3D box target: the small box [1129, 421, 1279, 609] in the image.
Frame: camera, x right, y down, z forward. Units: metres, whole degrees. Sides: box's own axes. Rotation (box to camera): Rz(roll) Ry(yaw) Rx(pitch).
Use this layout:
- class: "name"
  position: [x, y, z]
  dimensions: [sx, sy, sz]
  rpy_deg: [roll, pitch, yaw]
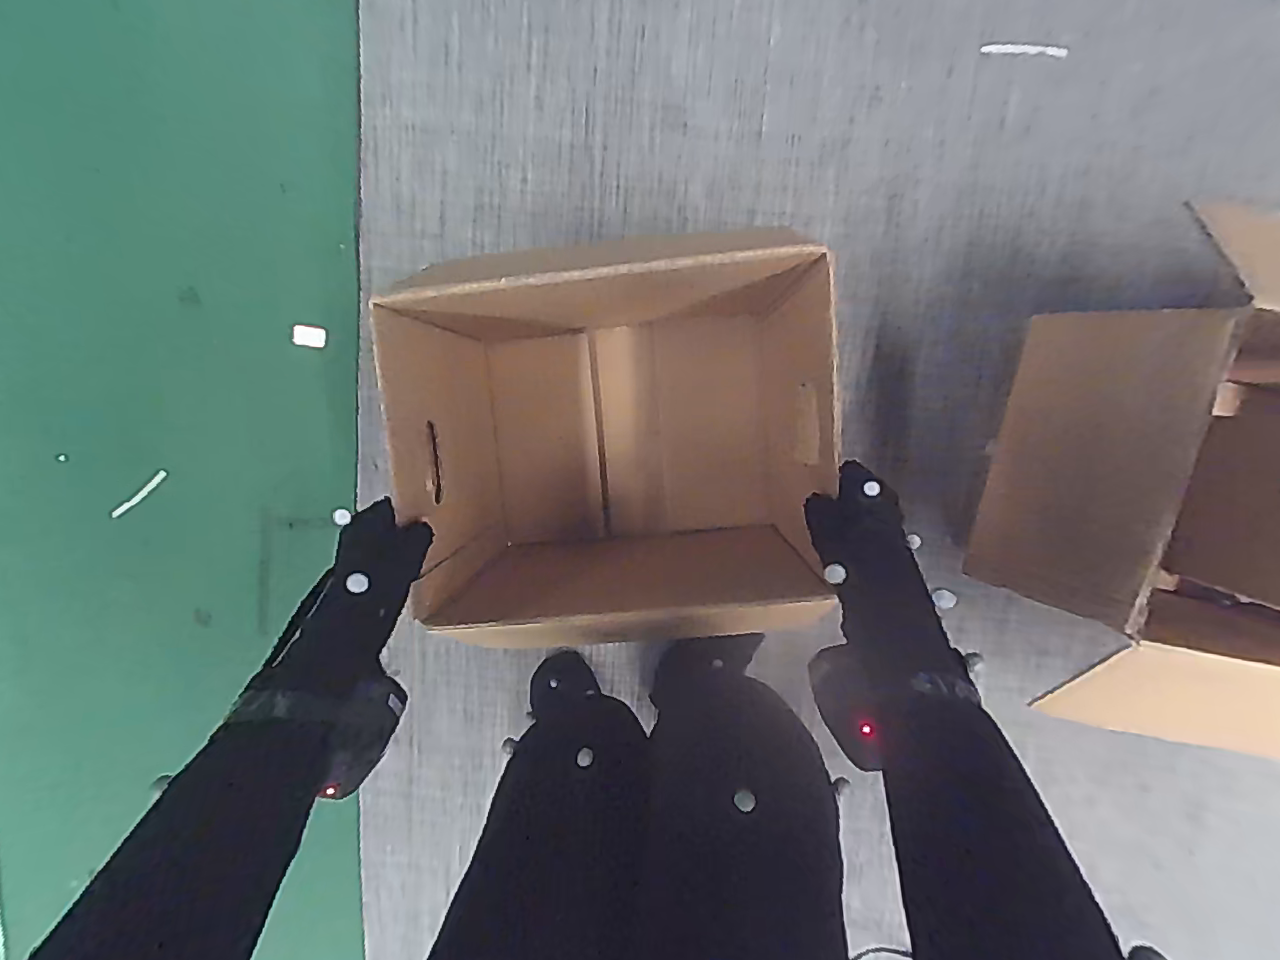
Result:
- class: "small box"
  position: [0.644, 0.037, 0.519]
  dimensions: [0.179, 0.176, 0.168]
  rpy_deg: [11, 97, 2]
